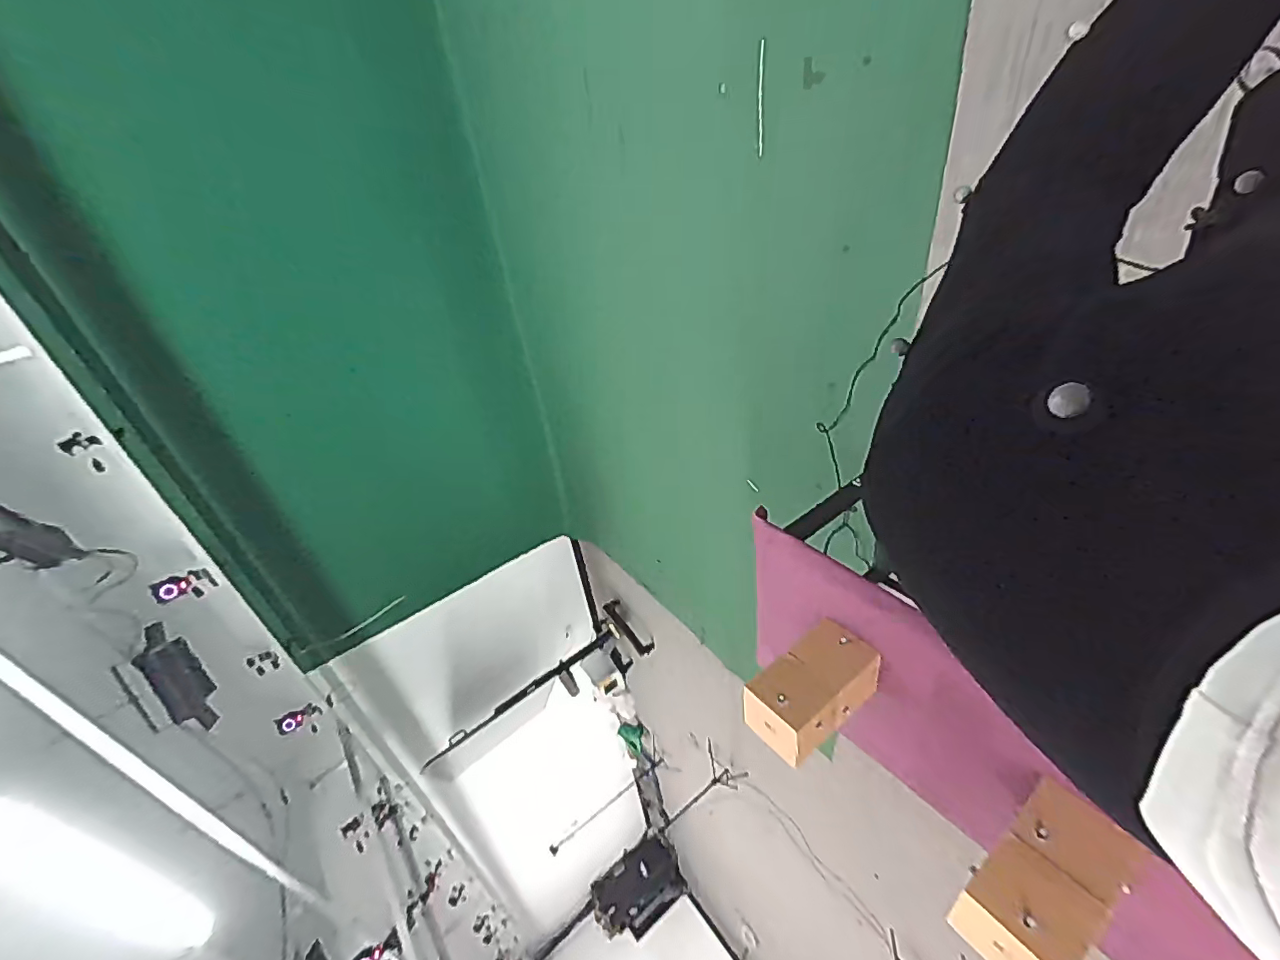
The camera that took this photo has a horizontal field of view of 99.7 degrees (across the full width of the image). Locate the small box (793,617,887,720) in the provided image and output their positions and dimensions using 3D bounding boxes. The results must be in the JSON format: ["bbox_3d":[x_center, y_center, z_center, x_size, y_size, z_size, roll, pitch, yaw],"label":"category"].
[{"bbox_3d":[0.540,0.503,1.478,0.179,0.176,0.168,33,143,46],"label":"small box"}]

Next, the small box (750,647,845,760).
[{"bbox_3d":[0.409,0.574,1.410,0.179,0.176,0.168,34,142,44],"label":"small box"}]

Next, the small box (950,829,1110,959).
[{"bbox_3d":[0.738,0.814,1.034,0.179,0.176,0.168,34,142,44],"label":"small box"}]

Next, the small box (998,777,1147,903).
[{"bbox_3d":[0.869,0.748,1.104,0.179,0.176,0.168,35,144,45],"label":"small box"}]
